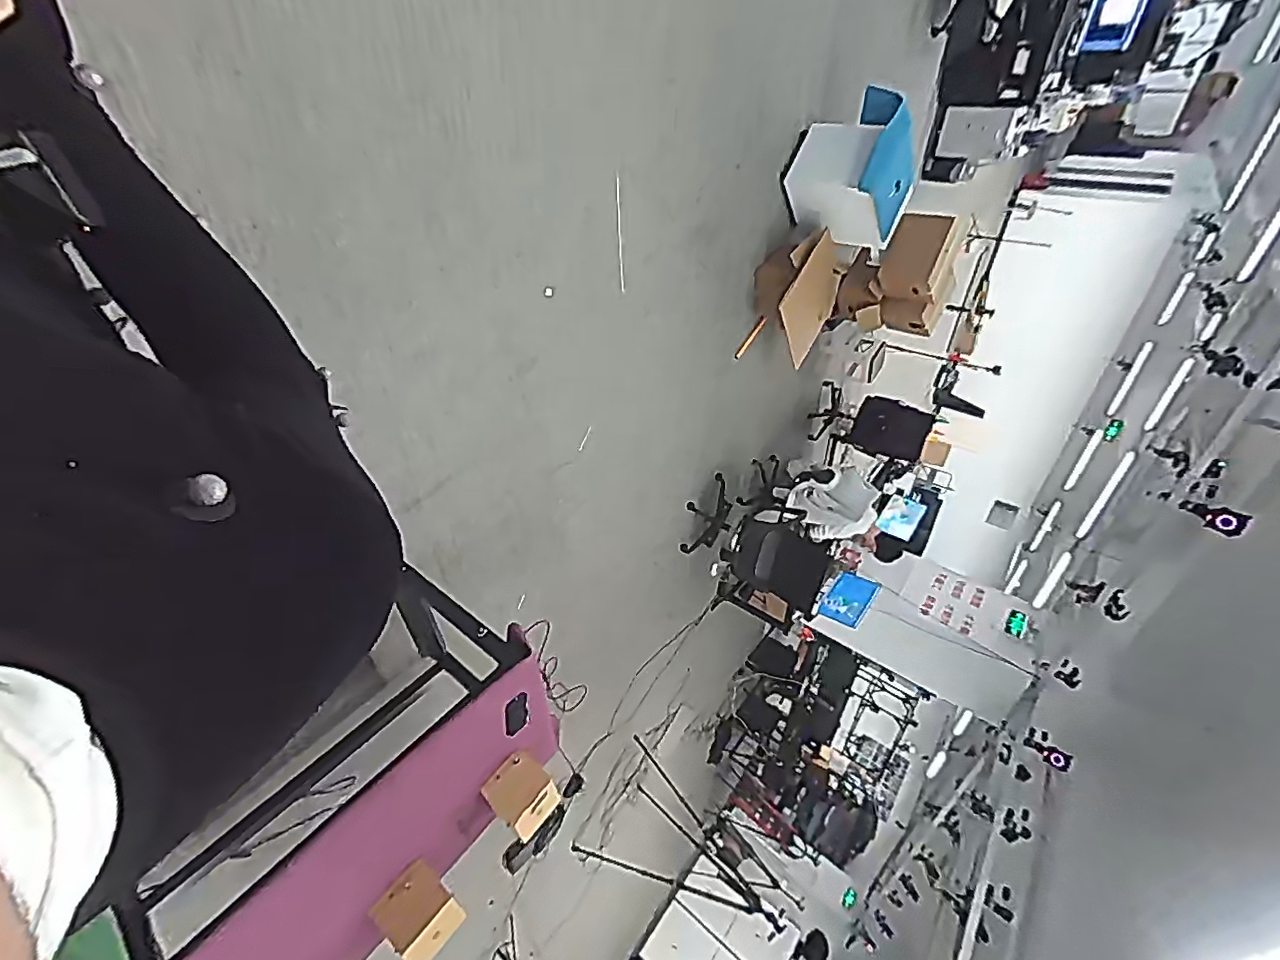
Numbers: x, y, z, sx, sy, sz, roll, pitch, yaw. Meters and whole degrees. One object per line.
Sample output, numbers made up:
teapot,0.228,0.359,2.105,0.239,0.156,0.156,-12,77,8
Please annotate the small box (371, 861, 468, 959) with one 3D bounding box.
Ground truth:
small box,-0.625,1.235,1.538,0.168,0.176,0.179,-39,140,-38

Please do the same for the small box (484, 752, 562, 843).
small box,-0.381,1.023,1.754,0.168,0.176,0.179,-40,142,-34
